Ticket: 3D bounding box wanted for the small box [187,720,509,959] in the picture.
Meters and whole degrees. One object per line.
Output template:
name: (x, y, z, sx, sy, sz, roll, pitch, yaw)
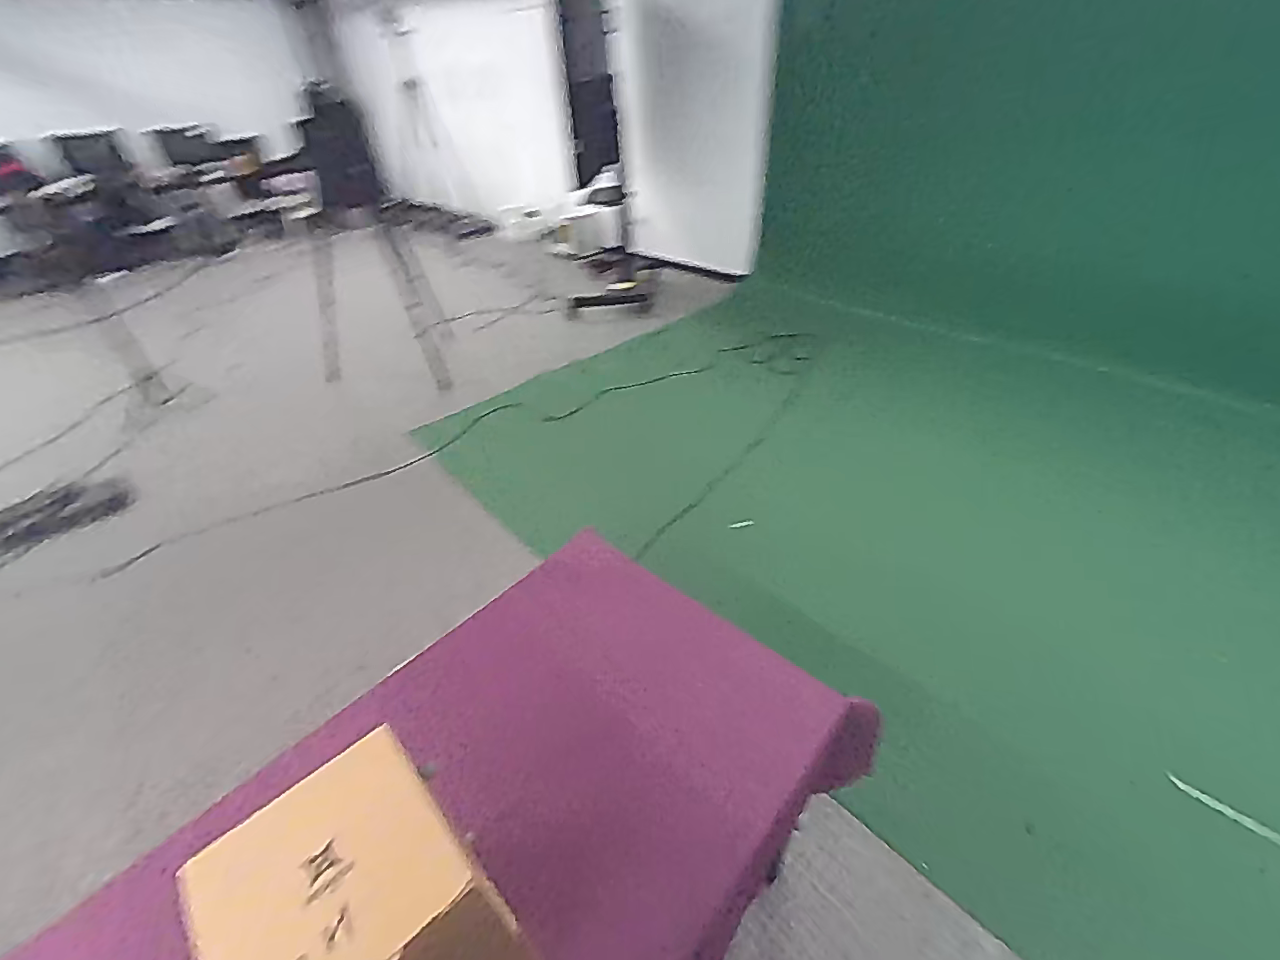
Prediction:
small box: (-0.237, 0.358, 0.465, 0.168, 0.176, 0.179, -32, 47, -31)
